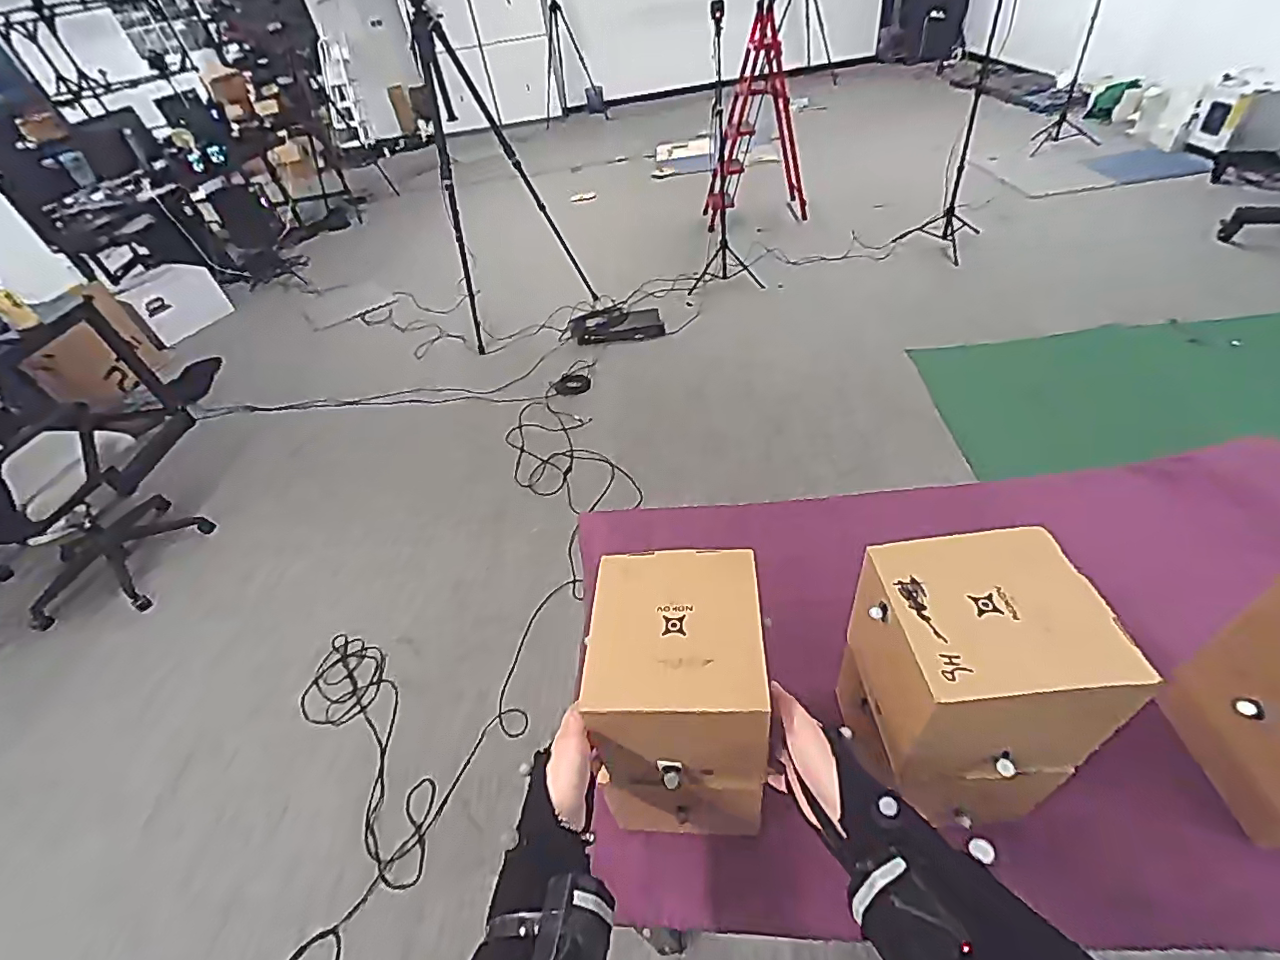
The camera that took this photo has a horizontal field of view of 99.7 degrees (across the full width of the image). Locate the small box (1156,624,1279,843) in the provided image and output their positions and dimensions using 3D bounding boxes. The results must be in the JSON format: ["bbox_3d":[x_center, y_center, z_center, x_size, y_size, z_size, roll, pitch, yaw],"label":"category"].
[{"bbox_3d":[0.740,0.274,0.593,0.168,0.176,0.179,-6,44,6],"label":"small box"}]

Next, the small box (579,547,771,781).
[{"bbox_3d":[0.044,0.191,0.570,0.168,0.176,0.179,-3,43,8],"label":"small box"}]

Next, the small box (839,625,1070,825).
[{"bbox_3d":[0.350,0.288,0.650,0.168,0.176,0.179,-7,43,5],"label":"small box"}]

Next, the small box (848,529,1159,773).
[{"bbox_3d":[0.327,0.171,0.537,0.179,0.176,0.168,-6,41,3],"label":"small box"}]
